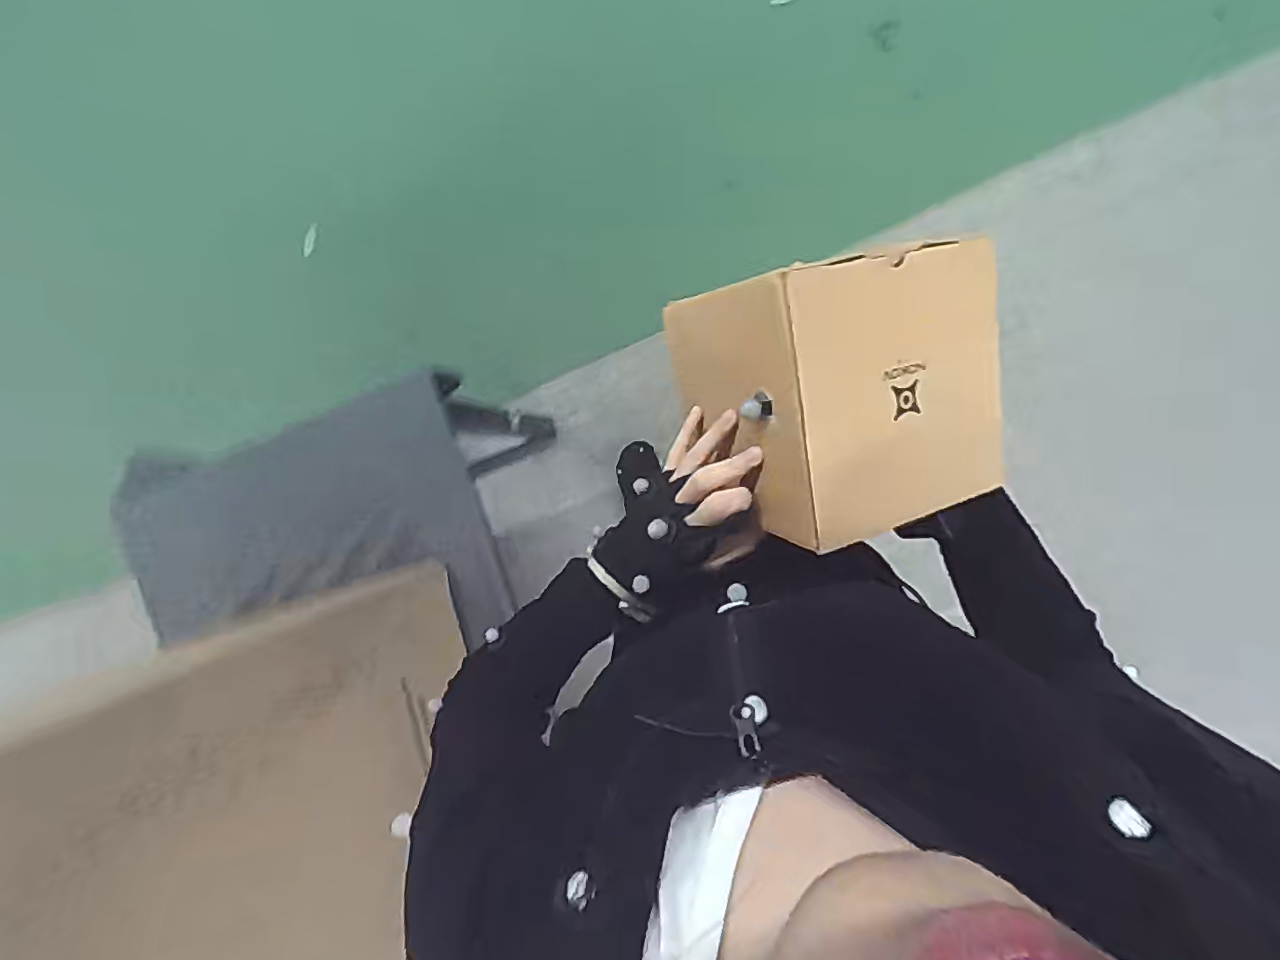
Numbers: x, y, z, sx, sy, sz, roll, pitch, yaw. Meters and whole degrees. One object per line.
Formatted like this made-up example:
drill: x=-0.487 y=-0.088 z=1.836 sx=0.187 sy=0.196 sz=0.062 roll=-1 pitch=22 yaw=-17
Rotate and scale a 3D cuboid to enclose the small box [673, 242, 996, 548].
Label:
small box: x=0.141 y=-0.069 z=0.424 sx=0.168 sy=0.176 sz=0.179 roll=-15 pitch=104 yaw=-18
